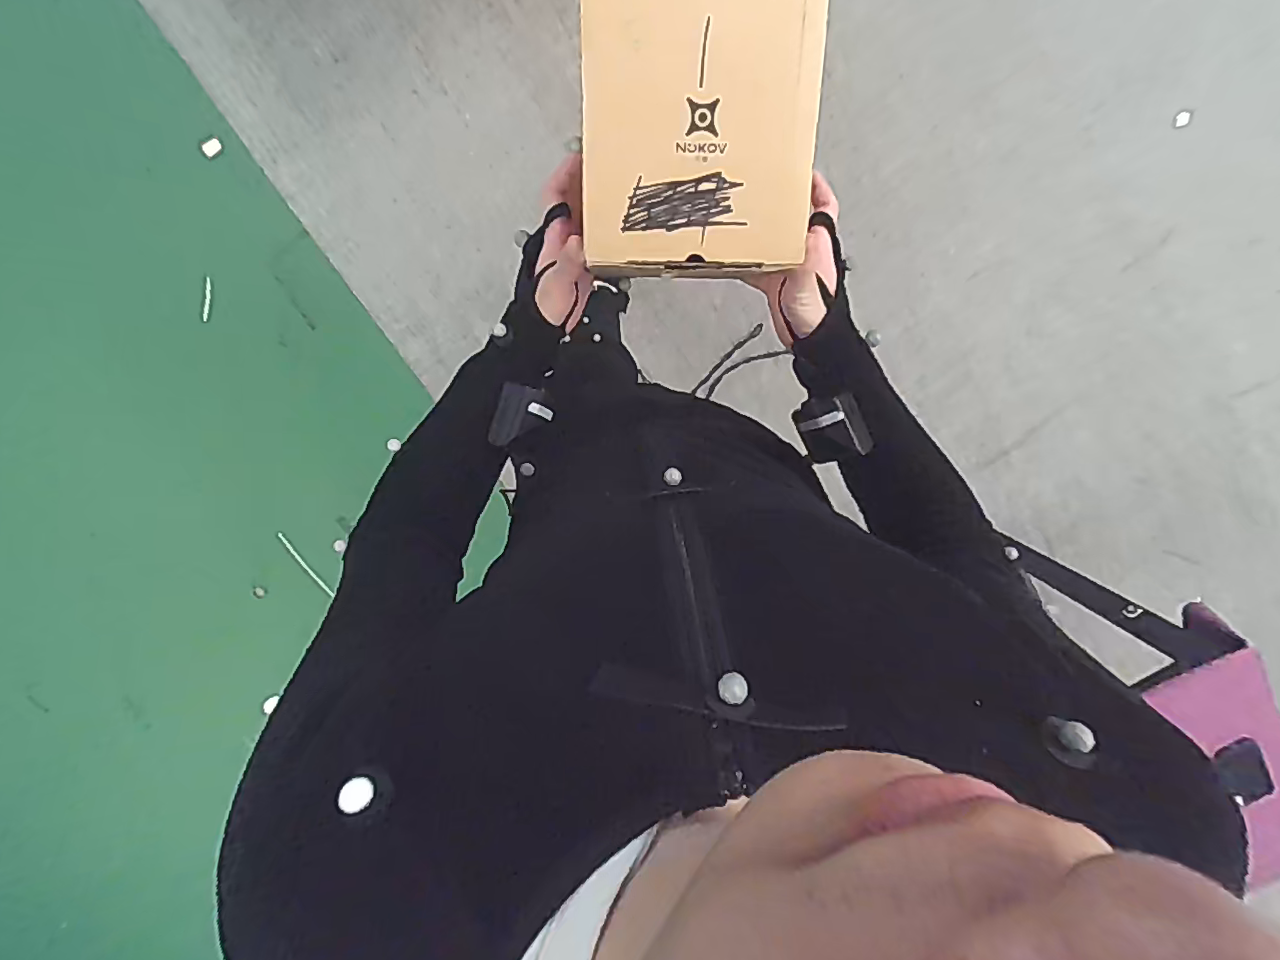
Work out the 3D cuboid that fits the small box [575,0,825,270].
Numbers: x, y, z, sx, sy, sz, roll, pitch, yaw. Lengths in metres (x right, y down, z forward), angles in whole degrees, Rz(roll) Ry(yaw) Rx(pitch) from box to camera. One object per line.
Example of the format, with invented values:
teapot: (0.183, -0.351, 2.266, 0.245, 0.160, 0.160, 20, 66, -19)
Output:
small box: (0.037, -0.272, 0.448, 0.168, 0.176, 0.179, 0, 107, -1)
